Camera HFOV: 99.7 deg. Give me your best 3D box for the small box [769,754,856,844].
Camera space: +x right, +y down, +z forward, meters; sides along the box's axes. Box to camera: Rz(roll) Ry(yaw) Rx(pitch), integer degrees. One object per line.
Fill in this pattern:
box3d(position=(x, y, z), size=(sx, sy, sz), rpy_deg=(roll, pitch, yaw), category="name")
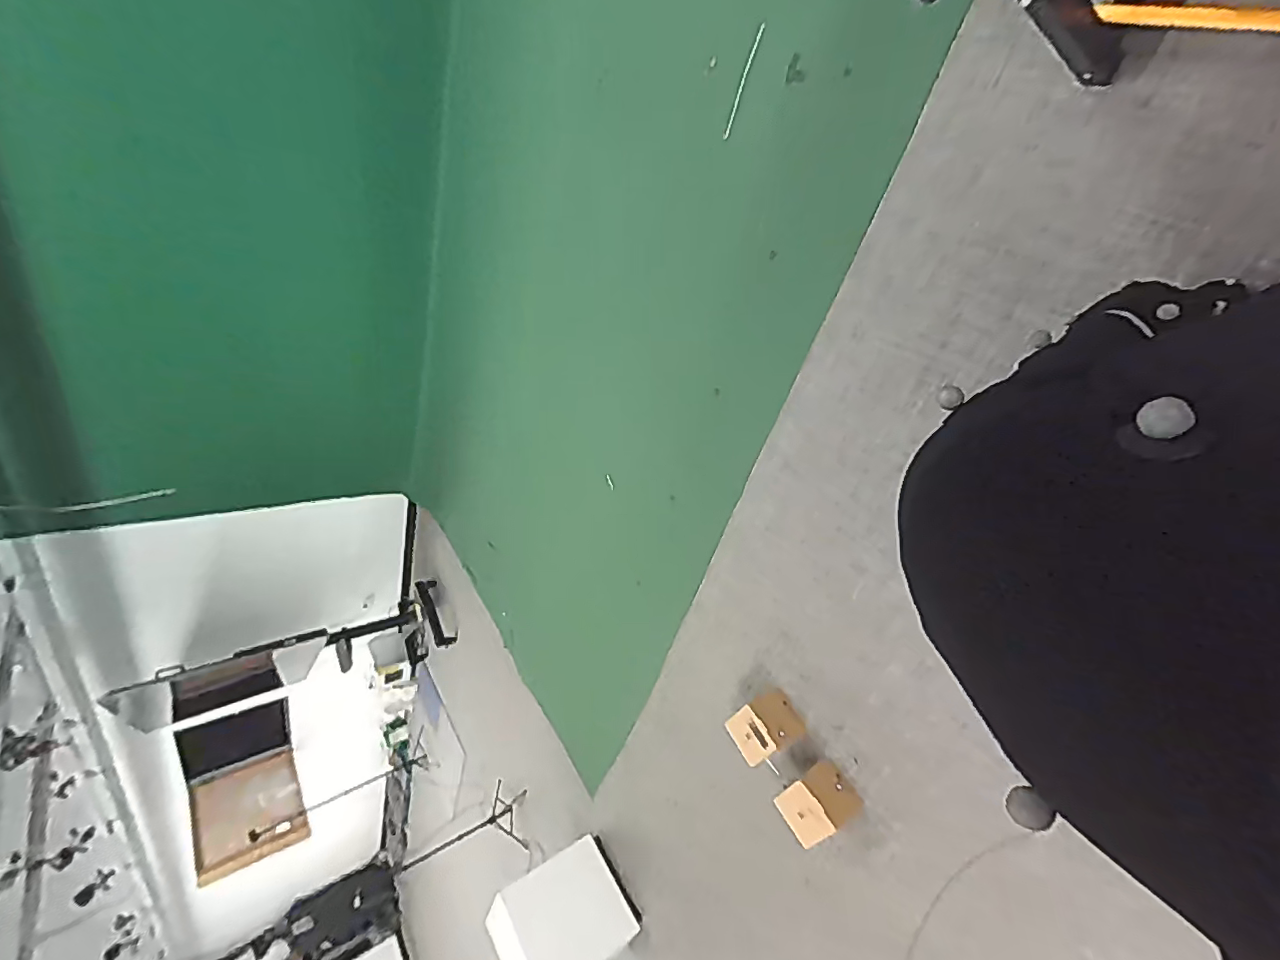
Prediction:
box3d(position=(0.565, 1.034, 1.762), size=(0.168, 0.176, 0.179), rpy_deg=(52, 131, 30), category="small box")
